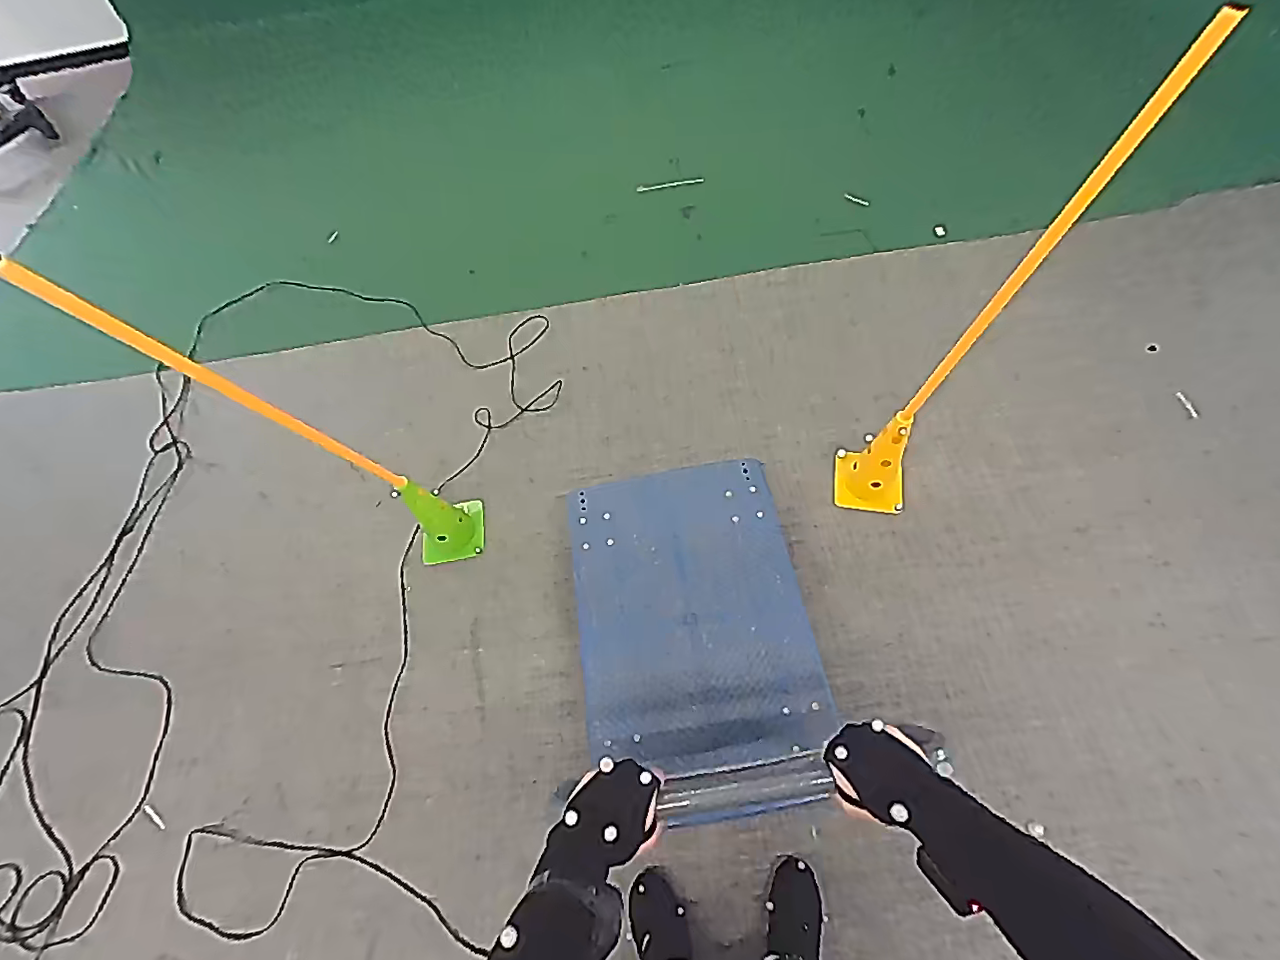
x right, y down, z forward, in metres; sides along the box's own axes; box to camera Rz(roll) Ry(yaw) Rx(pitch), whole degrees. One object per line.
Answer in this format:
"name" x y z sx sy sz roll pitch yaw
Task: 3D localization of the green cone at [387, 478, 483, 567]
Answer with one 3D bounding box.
"green cone" -0.629 0.091 1.599 0.202 0.368 0.200 -12 61 2
